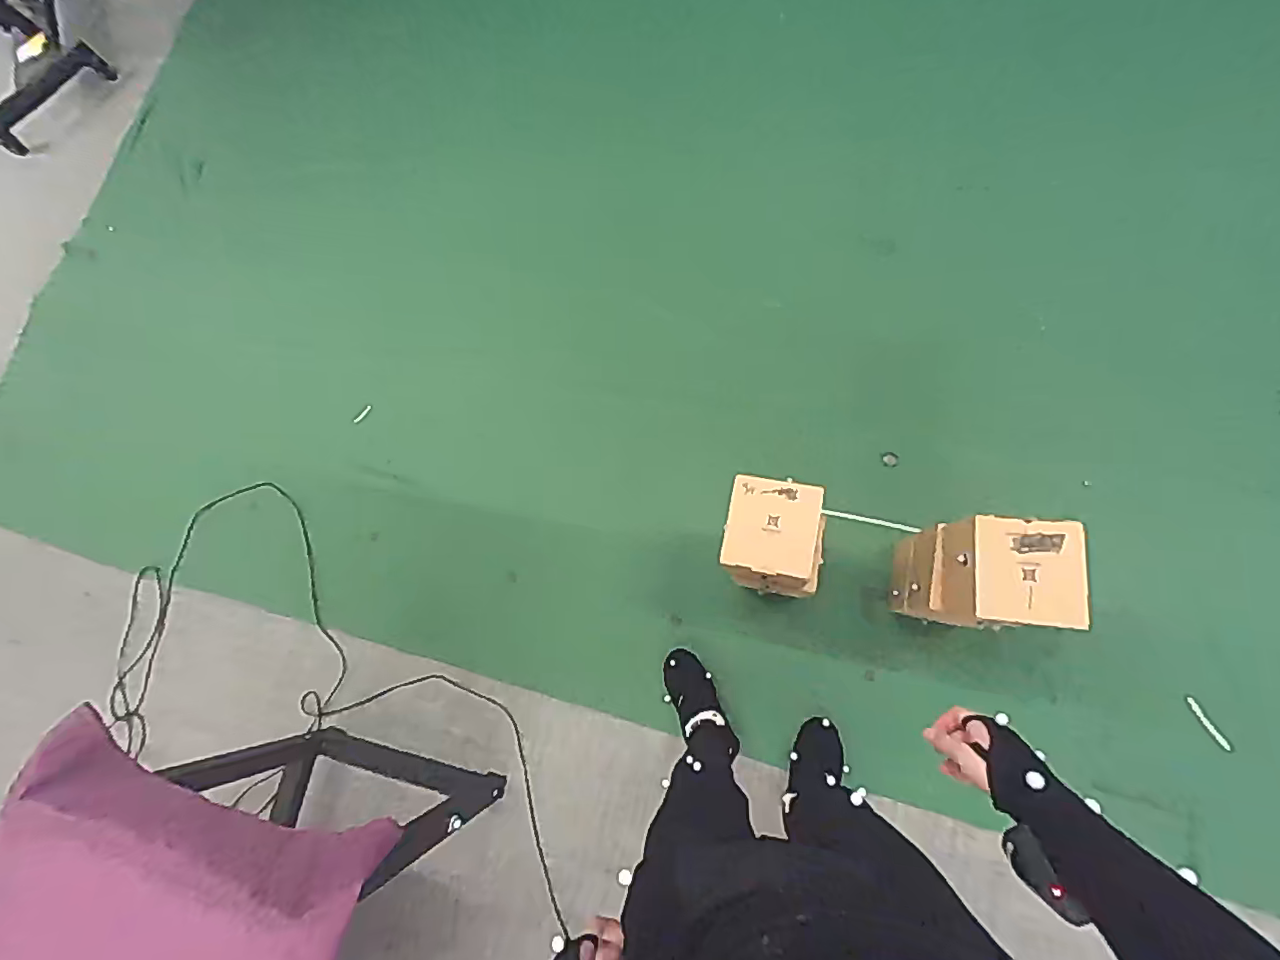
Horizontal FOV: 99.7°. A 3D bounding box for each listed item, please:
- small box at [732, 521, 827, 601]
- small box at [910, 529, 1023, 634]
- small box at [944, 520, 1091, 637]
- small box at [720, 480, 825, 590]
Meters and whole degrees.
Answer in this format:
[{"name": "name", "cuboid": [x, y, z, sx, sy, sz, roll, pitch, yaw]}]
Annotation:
[{"name": "small box", "cuboid": [0.310, 0.173, 1.211, 0.179, 0.176, 0.168, 9, 77, 14]}, {"name": "small box", "cuboid": [0.675, 0.212, 1.122, 0.168, 0.176, 0.179, 10, 78, 13]}, {"name": "small box", "cuboid": [0.658, 0.176, 0.963, 0.168, 0.176, 0.179, 4, 79, 12]}, {"name": "small box", "cuboid": [0.260, 0.114, 1.064, 0.168, 0.176, 0.179, 10, 78, 15]}]
